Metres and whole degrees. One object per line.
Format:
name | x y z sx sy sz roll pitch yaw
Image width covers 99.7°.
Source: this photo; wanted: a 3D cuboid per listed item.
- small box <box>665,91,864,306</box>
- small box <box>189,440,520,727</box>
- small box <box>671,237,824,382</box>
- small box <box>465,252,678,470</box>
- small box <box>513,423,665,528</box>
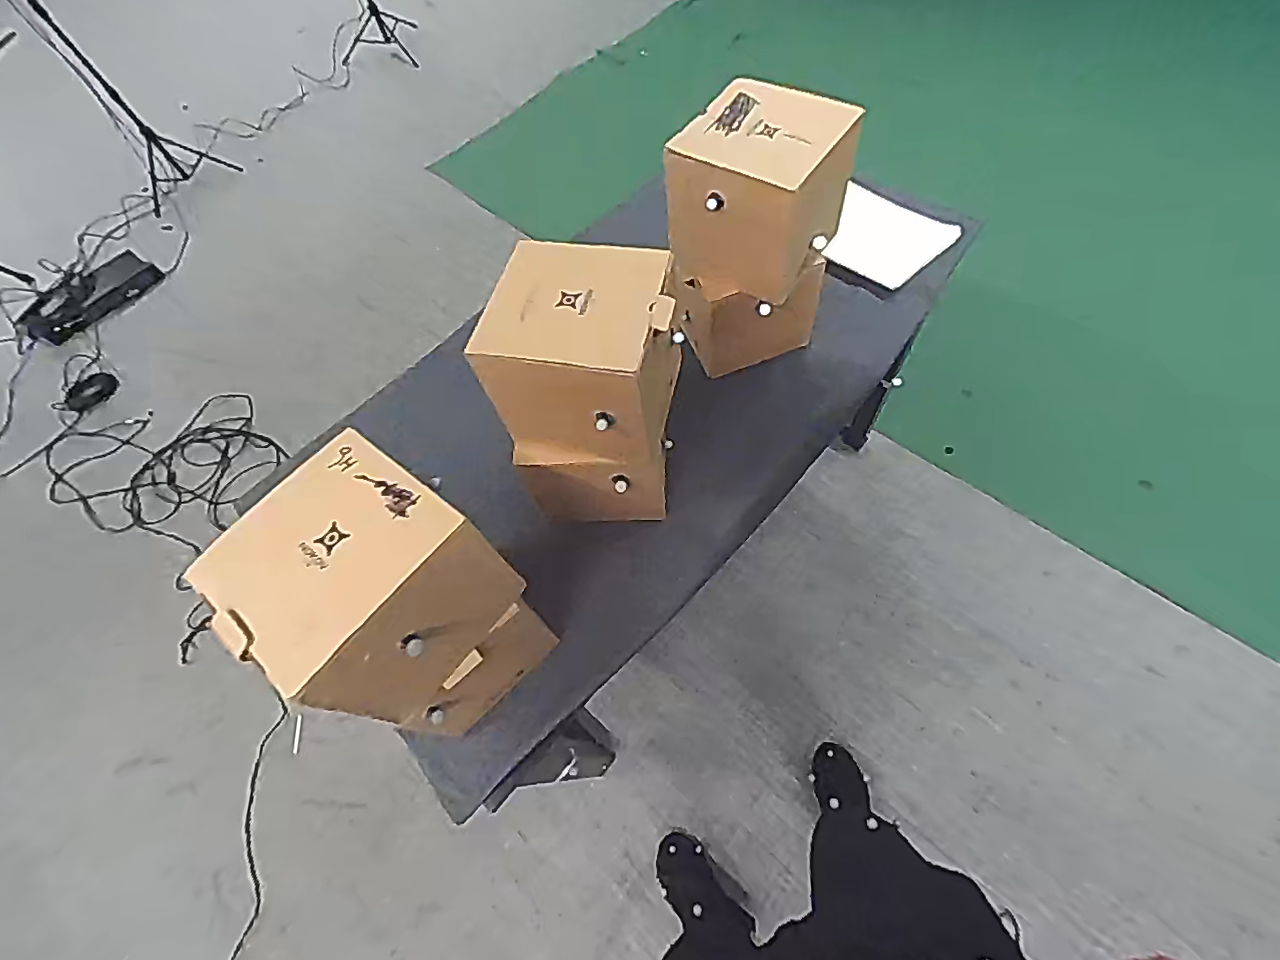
small box | 0.154 -0.358 0.701 0.179 0.176 0.168 31 70 22
small box | -0.242 0.103 0.501 0.168 0.176 0.179 32 70 23
small box | 0.159 -0.286 0.850 0.179 0.176 0.168 -20 61 -3
small box | -0.057 -0.126 0.604 0.179 0.176 0.168 8 62 12
small box | -0.056 -0.041 0.744 0.179 0.176 0.168 -2 61 6
